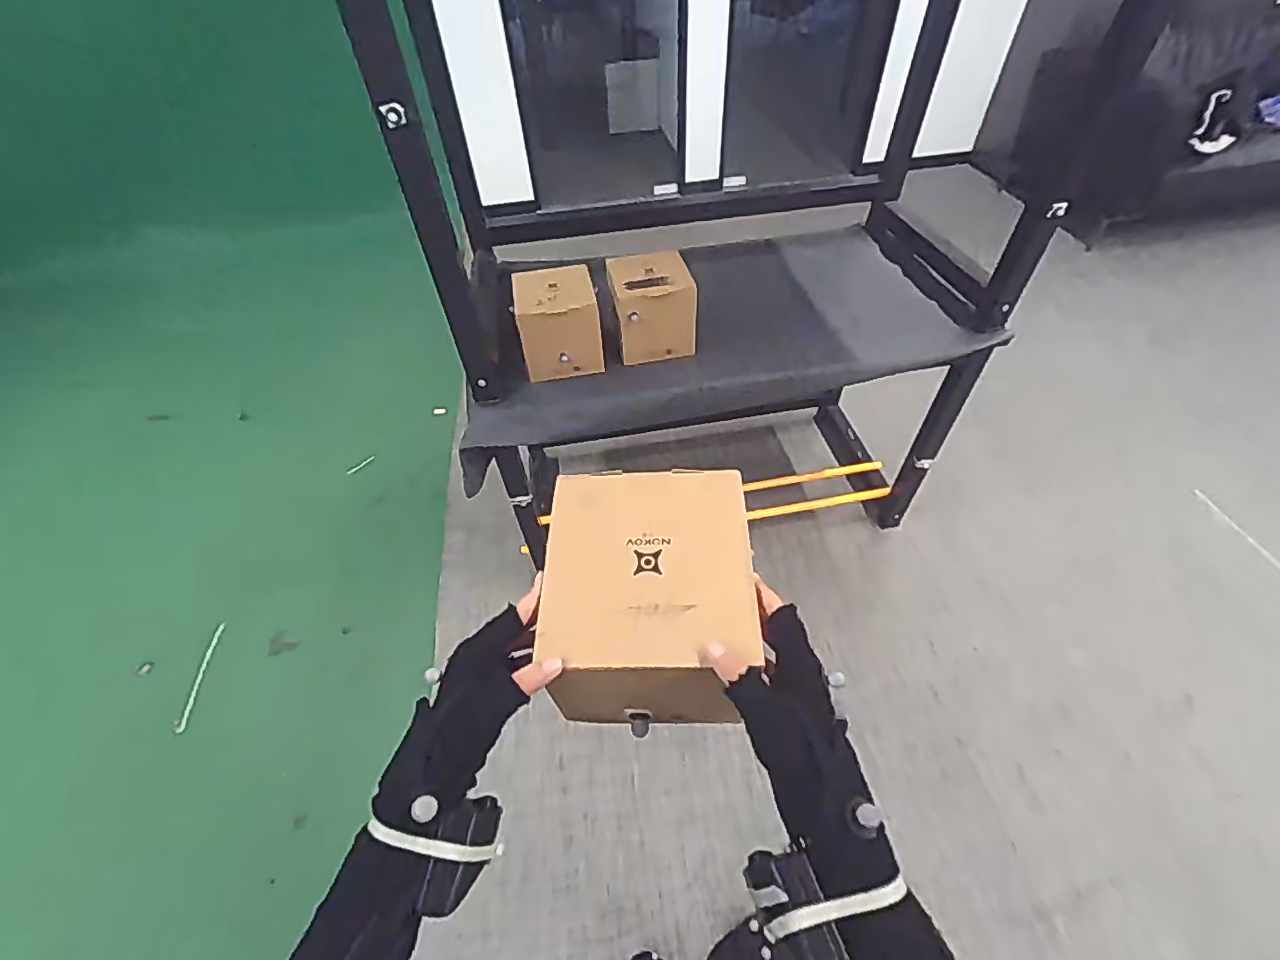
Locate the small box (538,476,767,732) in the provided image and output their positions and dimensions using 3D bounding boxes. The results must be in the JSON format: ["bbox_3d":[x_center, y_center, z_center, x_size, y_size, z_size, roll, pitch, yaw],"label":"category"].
[{"bbox_3d":[0.013,0.115,0.494,0.168,0.176,0.179,-1,53,3],"label":"small box"}]

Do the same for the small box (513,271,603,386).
[{"bbox_3d":[-0.179,-0.331,1.185,0.168,0.176,0.179,-10,49,-6],"label":"small box"}]
